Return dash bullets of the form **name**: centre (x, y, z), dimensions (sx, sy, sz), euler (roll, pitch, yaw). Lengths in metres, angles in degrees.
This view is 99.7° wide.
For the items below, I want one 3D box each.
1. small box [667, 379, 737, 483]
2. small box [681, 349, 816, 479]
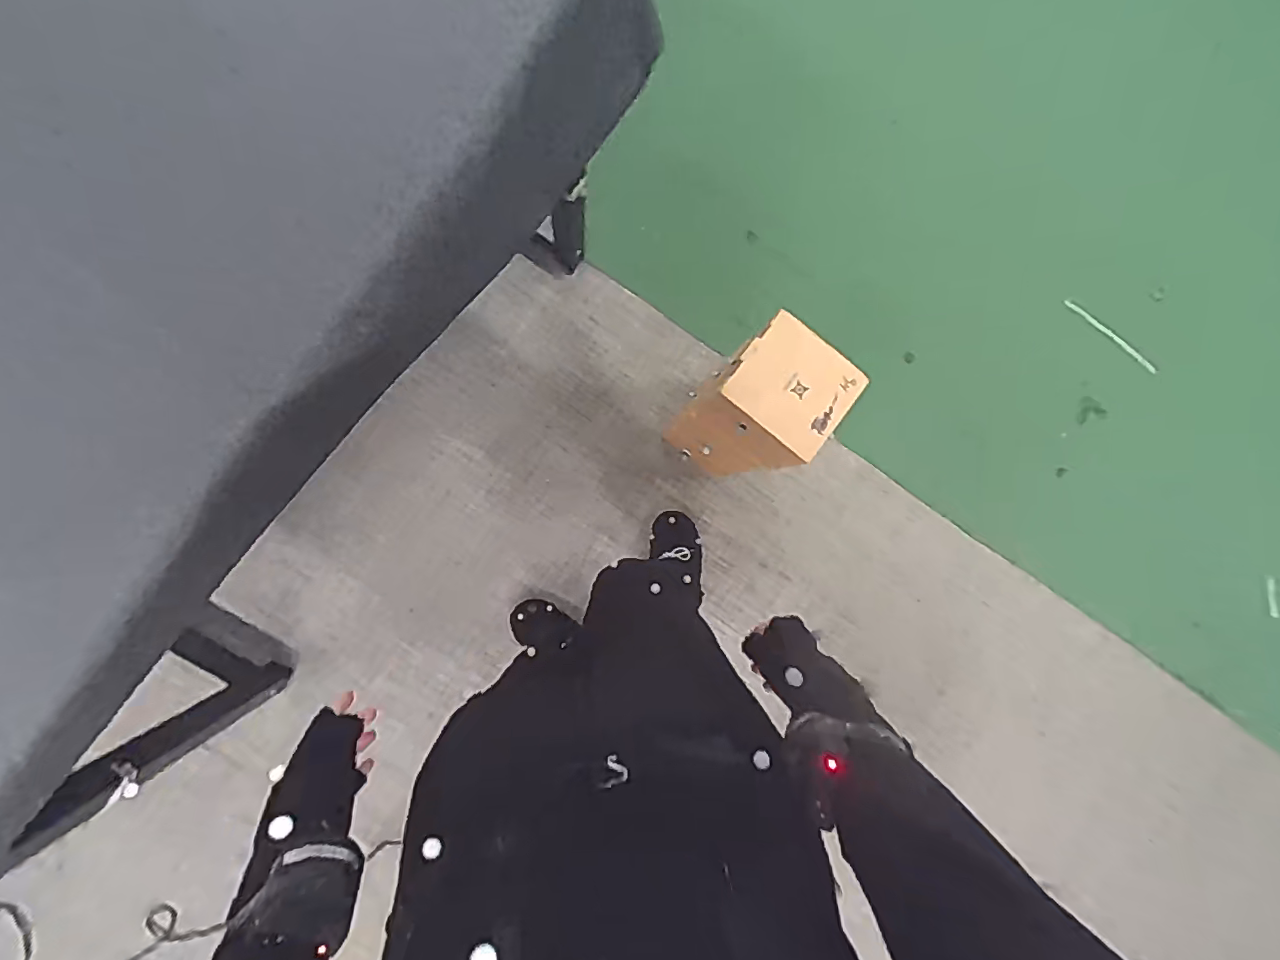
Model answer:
- **small box**: centre (0.178, -0.108, 1.215), dimensions (0.168, 0.176, 0.179), euler (38, 85, -3)
- **small box**: centre (0.199, -0.119, 1.051), dimensions (0.168, 0.176, 0.179), euler (39, 85, -3)
